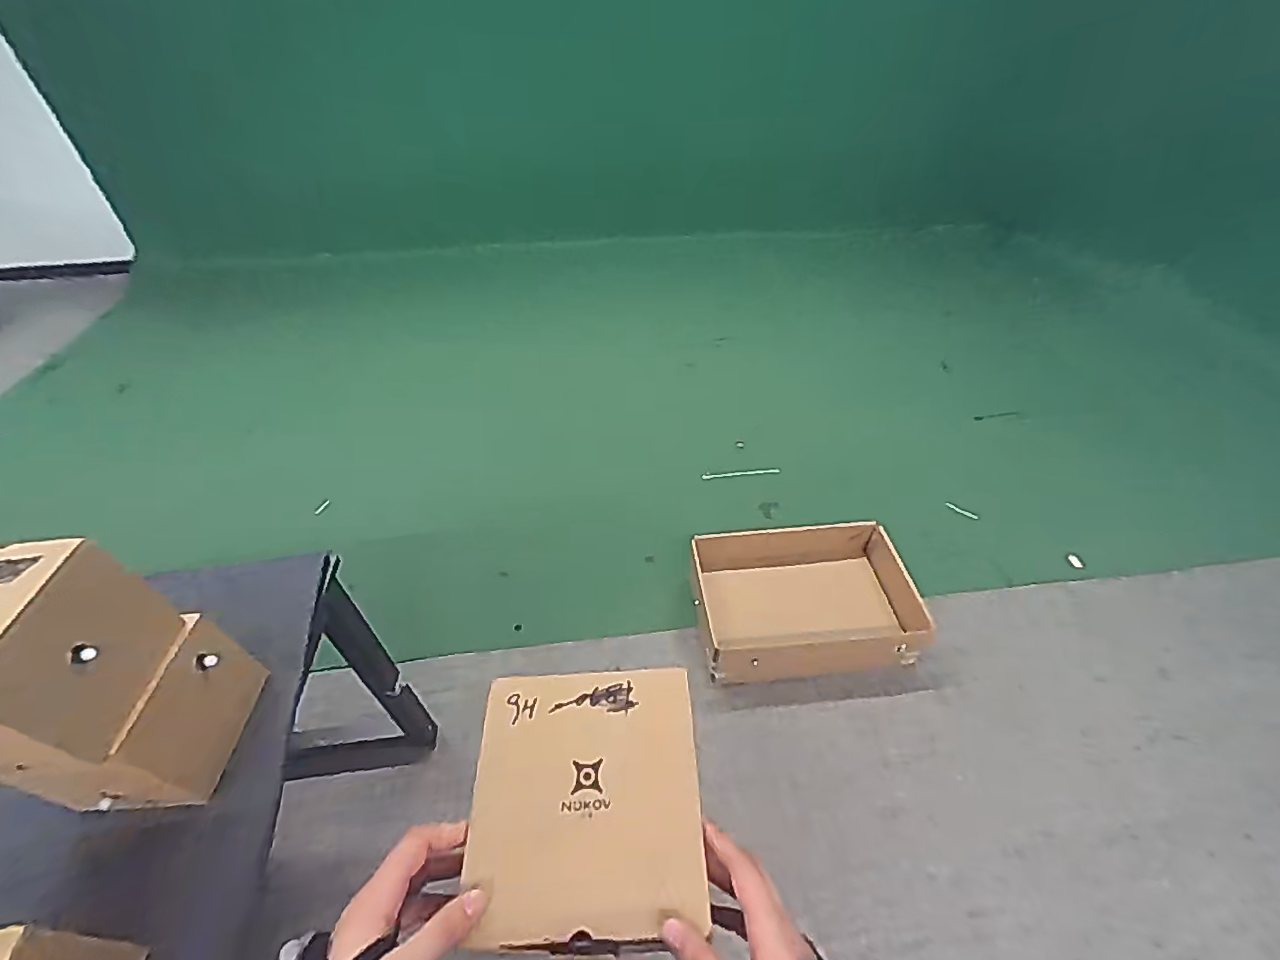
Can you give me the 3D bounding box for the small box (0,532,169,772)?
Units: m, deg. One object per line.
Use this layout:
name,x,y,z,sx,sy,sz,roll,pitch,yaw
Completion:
small box,-0.637,0.174,0.544,0.168,0.176,0.179,-4,46,-2

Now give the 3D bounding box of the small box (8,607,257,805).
small box,-0.623,0.279,0.670,0.168,0.176,0.179,-3,46,-1

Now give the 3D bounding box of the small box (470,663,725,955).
small box,-0.024,0.272,0.449,0.168,0.176,0.179,-4,49,1

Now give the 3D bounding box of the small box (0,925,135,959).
small box,-0.591,0.503,0.449,0.168,0.176,0.179,-6,44,-5
